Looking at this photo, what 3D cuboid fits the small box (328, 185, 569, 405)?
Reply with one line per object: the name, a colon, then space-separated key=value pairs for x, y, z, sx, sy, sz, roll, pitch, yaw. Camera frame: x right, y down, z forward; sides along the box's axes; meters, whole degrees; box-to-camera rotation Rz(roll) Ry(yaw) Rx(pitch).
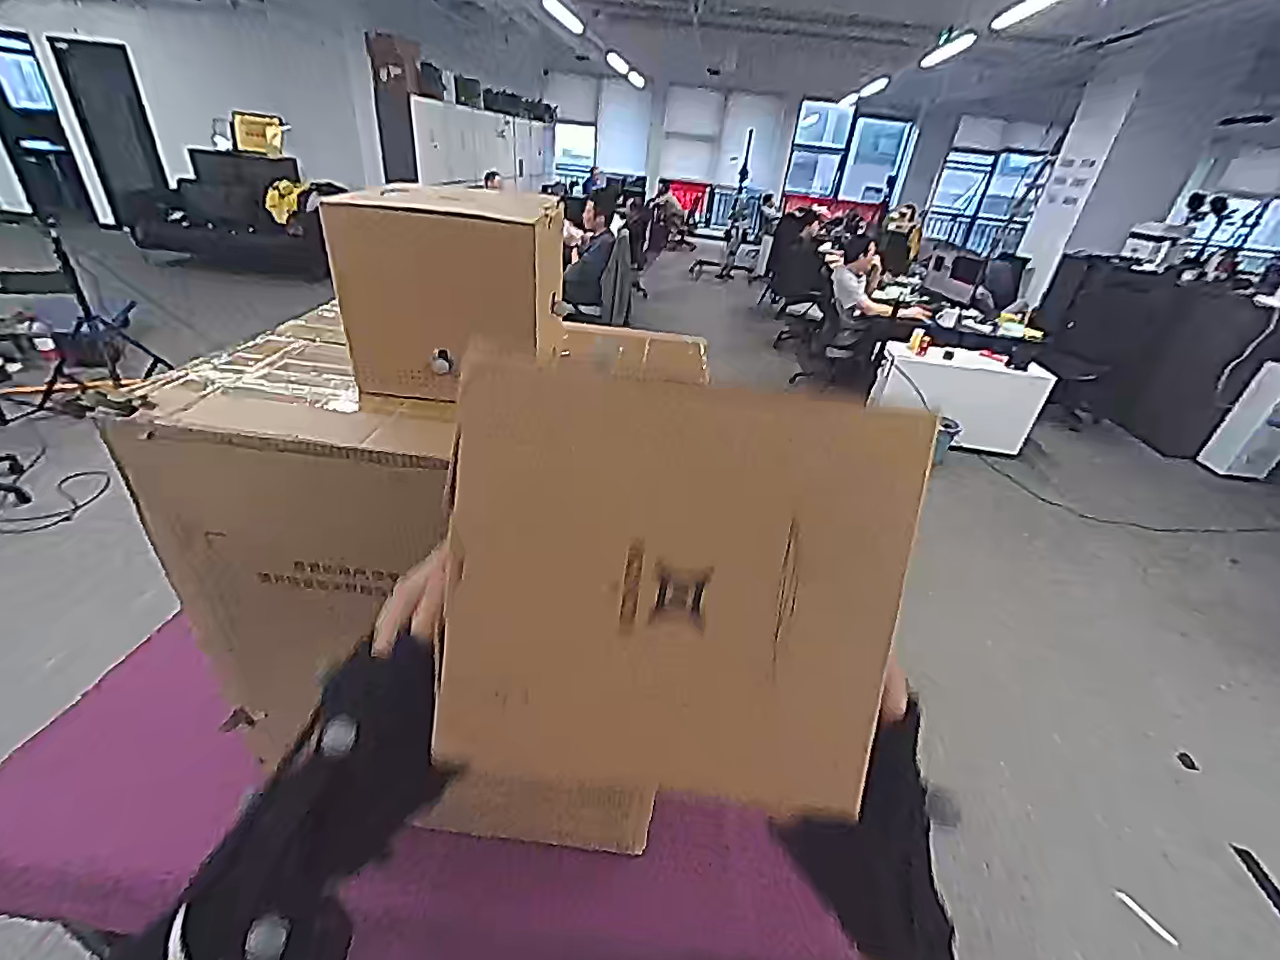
small box: x=-0.172 y=-0.188 z=0.547 sx=0.179 sy=0.176 sz=0.168 roll=5 pitch=32 yaw=-2
